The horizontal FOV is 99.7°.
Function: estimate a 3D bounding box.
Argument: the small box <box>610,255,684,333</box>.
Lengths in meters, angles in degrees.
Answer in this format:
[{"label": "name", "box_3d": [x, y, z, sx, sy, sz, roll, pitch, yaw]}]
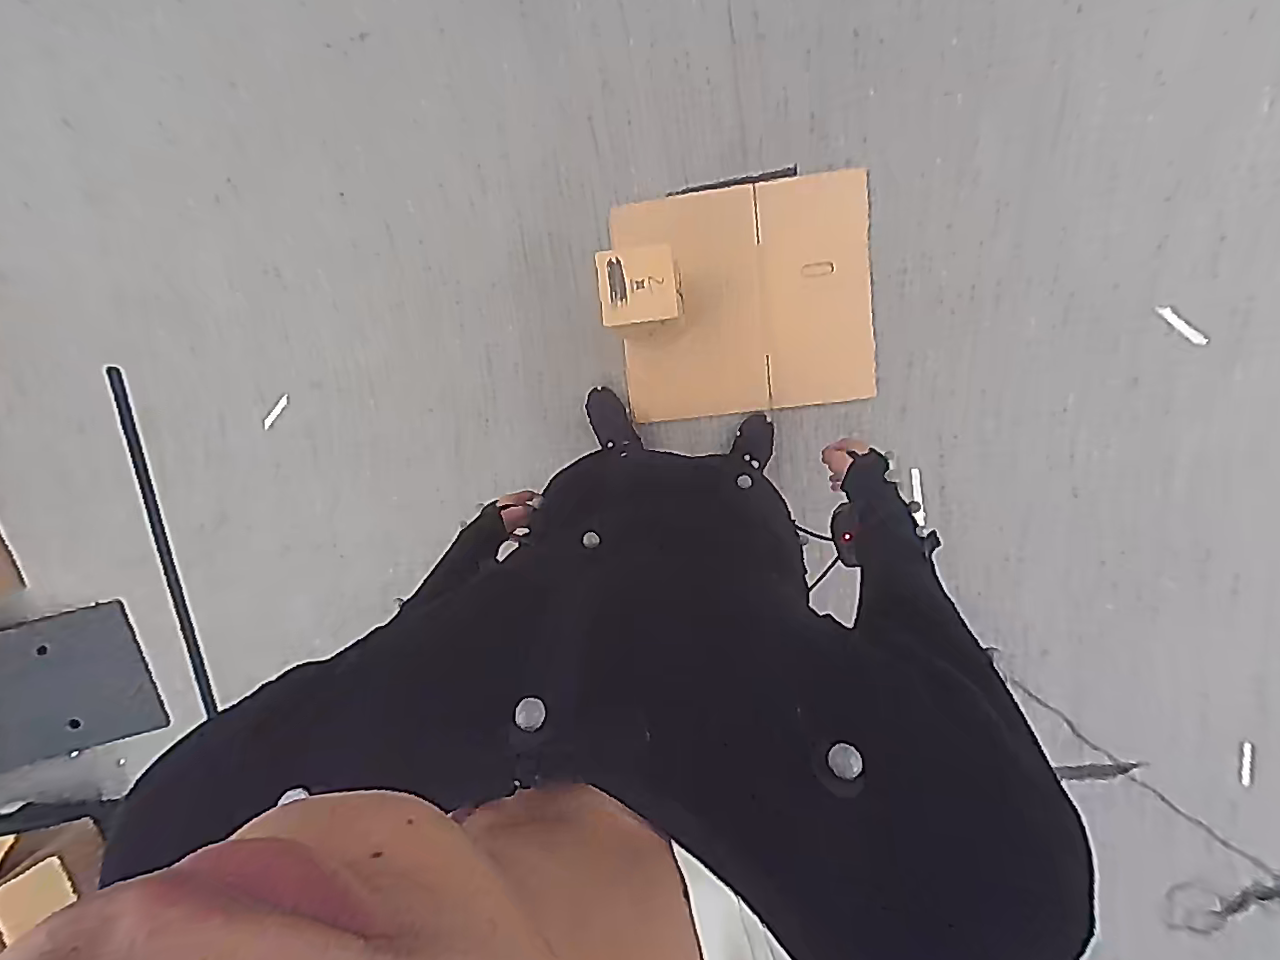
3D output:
[{"label": "small box", "box_3d": [0.025, -0.493, 1.452, 0.179, 0.176, 0.168, -6, 100, 7]}]
